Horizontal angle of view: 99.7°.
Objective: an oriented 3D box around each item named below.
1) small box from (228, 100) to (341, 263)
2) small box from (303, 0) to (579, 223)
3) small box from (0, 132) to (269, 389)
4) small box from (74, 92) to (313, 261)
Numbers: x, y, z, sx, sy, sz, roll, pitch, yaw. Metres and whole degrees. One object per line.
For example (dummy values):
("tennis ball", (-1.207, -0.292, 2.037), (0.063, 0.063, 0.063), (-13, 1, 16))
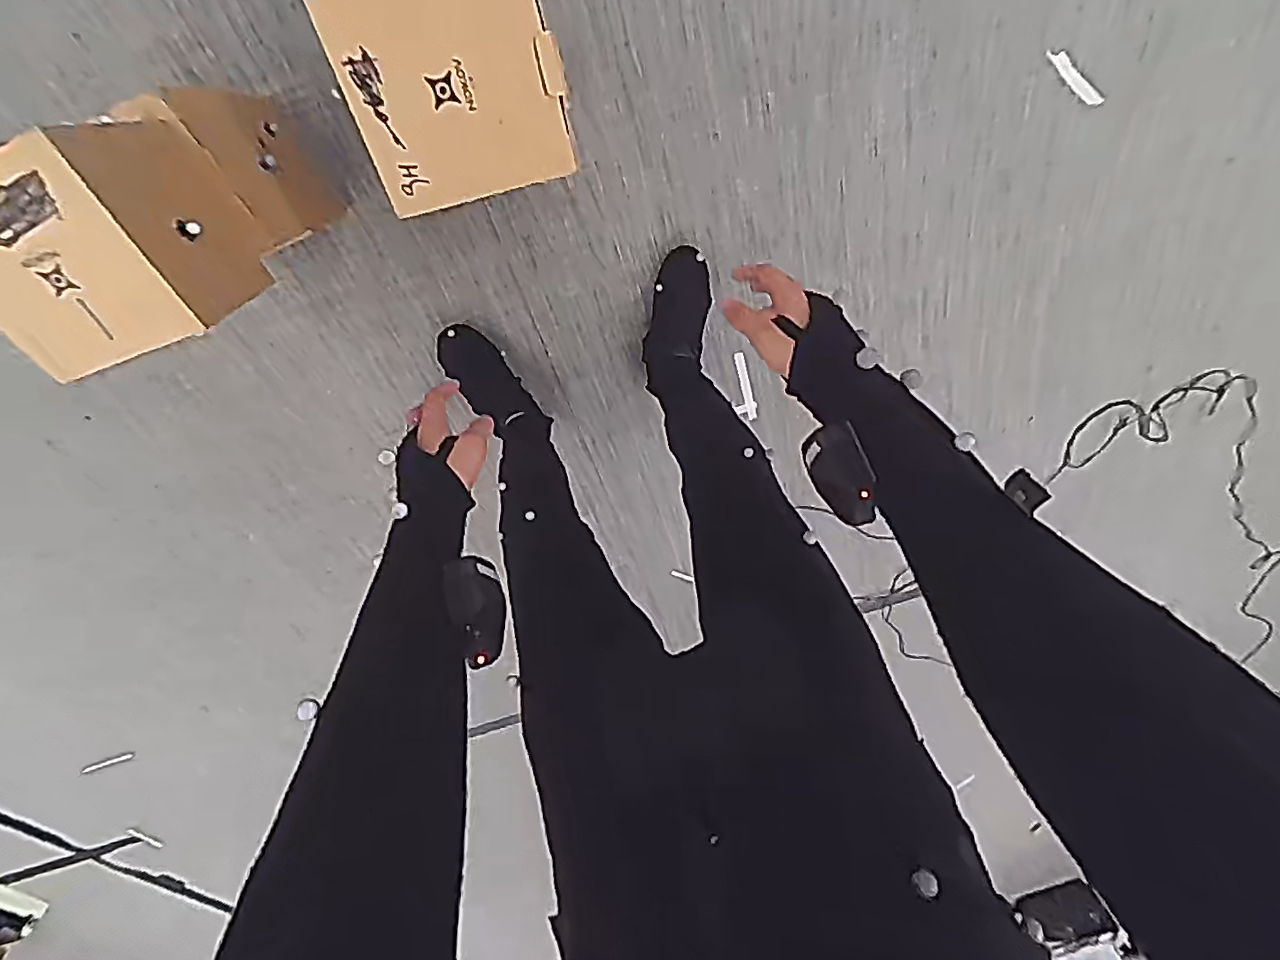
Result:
("small box", (-0.583, -0.425, 0.793), (0.168, 0.176, 0.179), (-21, 126, 4))
("small box", (-0.169, -0.365, 0.515), (0.179, 0.176, 0.168), (-16, 125, -2))
("small box", (-0.527, -0.224, 0.539), (0.168, 0.176, 0.179), (-19, 127, 4))
("small box", (-0.546, -0.340, 0.658), (0.179, 0.176, 0.168), (-23, 125, 5))
